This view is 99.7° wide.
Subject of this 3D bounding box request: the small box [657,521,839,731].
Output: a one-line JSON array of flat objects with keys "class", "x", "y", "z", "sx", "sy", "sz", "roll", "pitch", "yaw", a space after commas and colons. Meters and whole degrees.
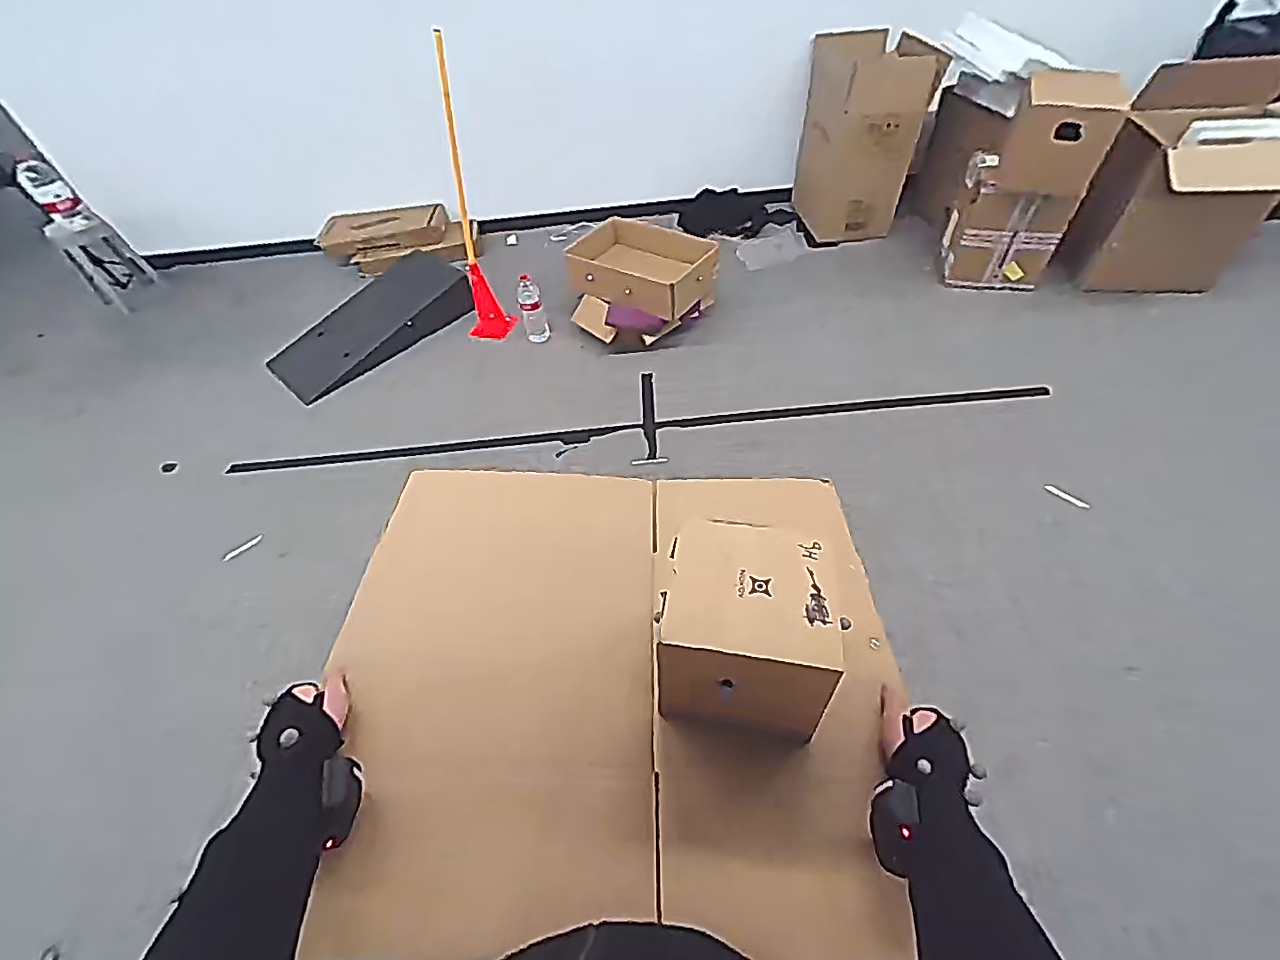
[{"class": "small box", "x": 0.121, "y": 0.169, "z": 0.627, "sx": 0.179, "sy": 0.176, "sz": 0.168, "roll": 5, "pitch": 45, "yaw": 10}]
